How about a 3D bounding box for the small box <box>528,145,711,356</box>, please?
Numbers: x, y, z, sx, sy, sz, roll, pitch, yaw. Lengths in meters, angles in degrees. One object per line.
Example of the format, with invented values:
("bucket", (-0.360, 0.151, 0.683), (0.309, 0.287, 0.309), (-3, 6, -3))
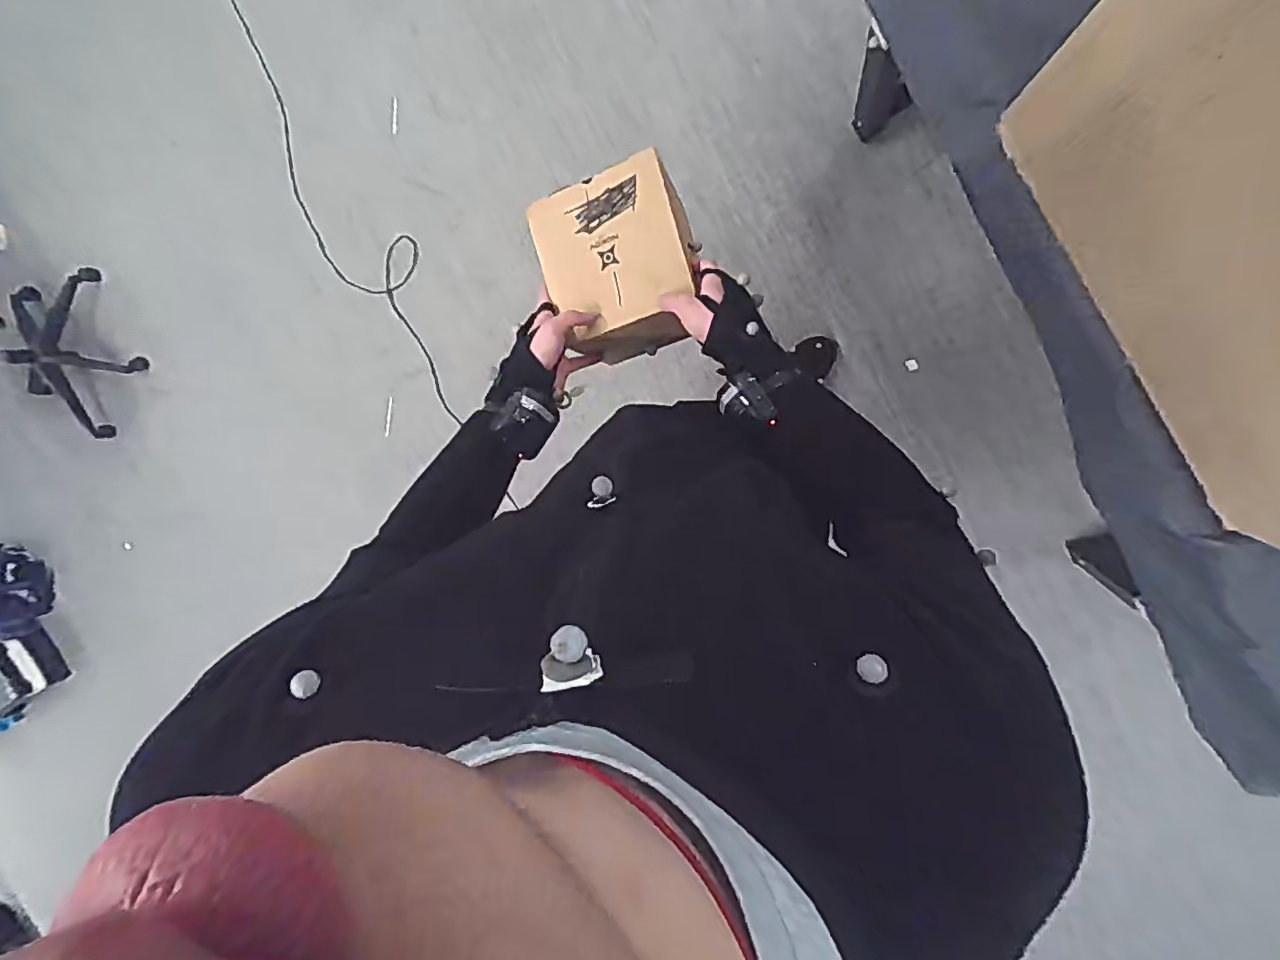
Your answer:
("small box", (-0.016, -0.276, 0.696), (0.168, 0.176, 0.179), (-15, 91, 17))
